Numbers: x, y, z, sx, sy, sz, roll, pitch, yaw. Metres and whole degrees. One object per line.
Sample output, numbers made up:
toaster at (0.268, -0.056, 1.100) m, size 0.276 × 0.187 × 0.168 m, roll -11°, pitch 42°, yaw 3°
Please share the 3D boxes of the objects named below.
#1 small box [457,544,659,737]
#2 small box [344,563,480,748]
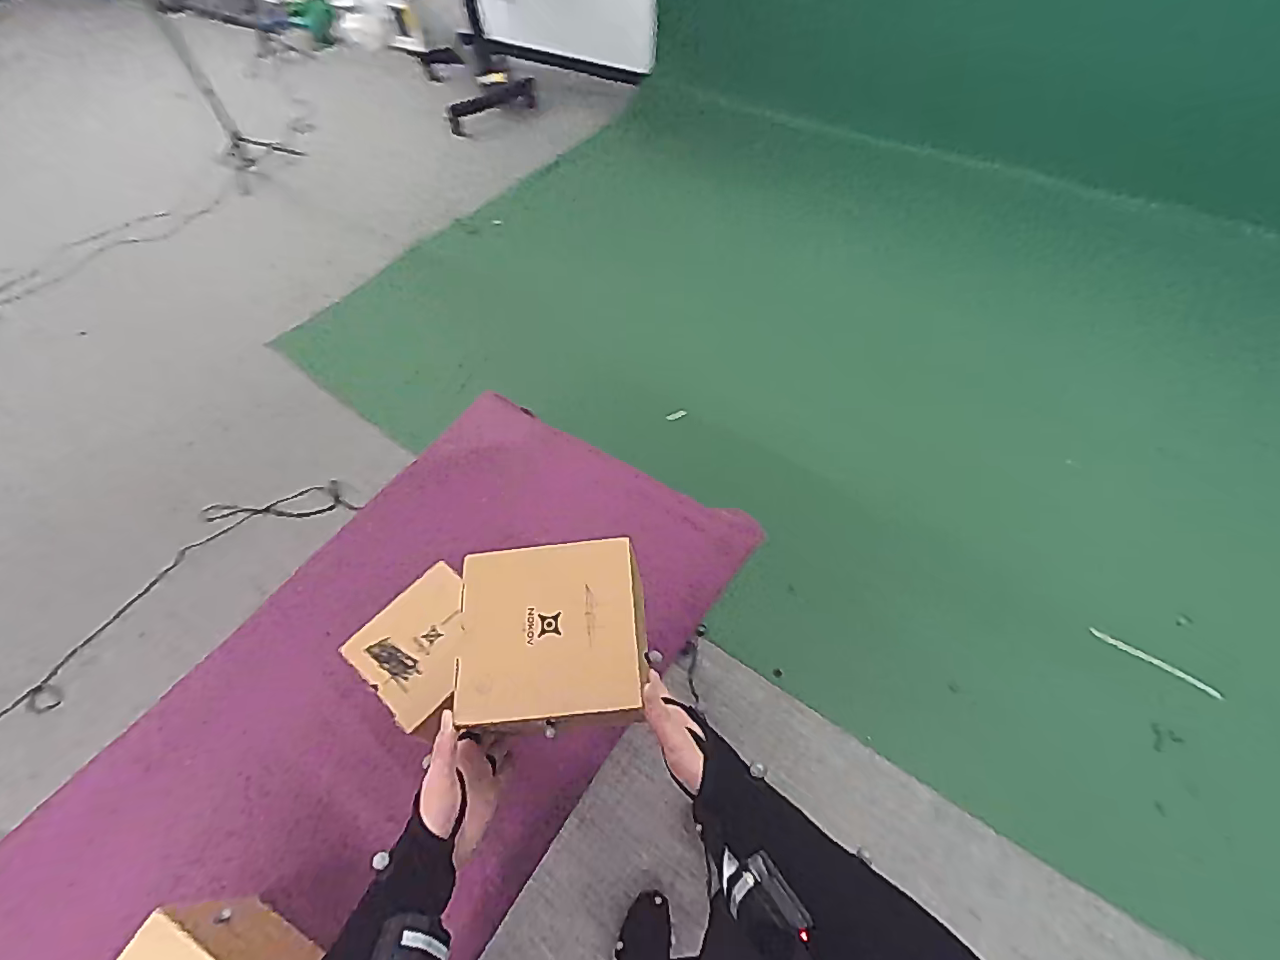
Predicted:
small box at (-0.076, 0.182, 0.589) m, size 0.179 × 0.176 × 0.168 m, roll -5°, pitch 62°, yaw 3°
small box at (-0.282, 0.264, 0.798) m, size 0.168 × 0.176 × 0.179 m, roll 35°, pitch 64°, yaw 23°
